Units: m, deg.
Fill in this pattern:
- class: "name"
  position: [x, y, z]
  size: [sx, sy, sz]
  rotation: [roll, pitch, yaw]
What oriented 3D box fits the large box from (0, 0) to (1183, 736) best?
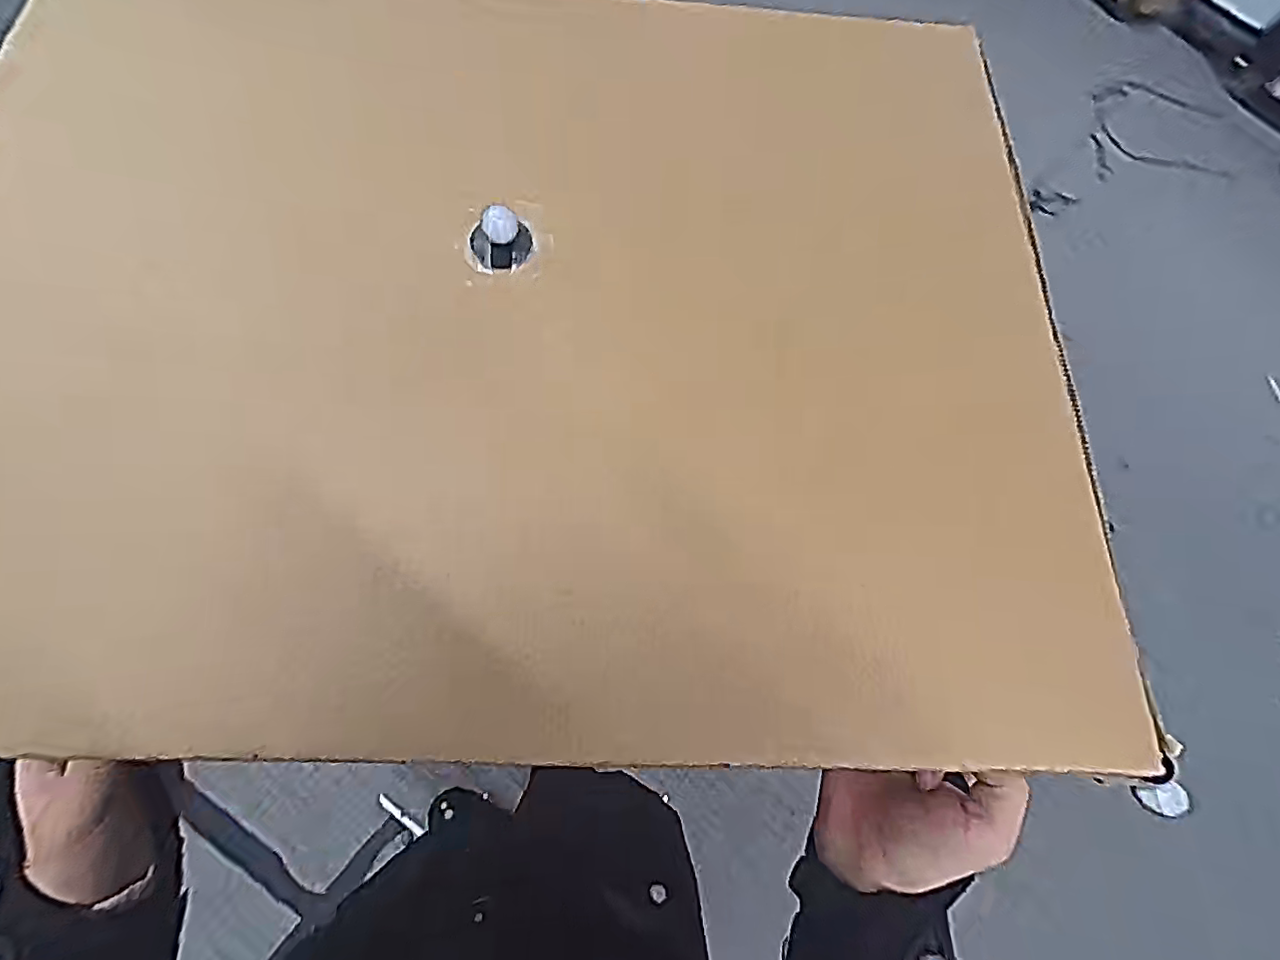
- class: "large box"
  position: [-0.048, -0.036, 0.333]
  size: [0.408, 0.320, 0.320]
  rotation: [3, 73, -2]
